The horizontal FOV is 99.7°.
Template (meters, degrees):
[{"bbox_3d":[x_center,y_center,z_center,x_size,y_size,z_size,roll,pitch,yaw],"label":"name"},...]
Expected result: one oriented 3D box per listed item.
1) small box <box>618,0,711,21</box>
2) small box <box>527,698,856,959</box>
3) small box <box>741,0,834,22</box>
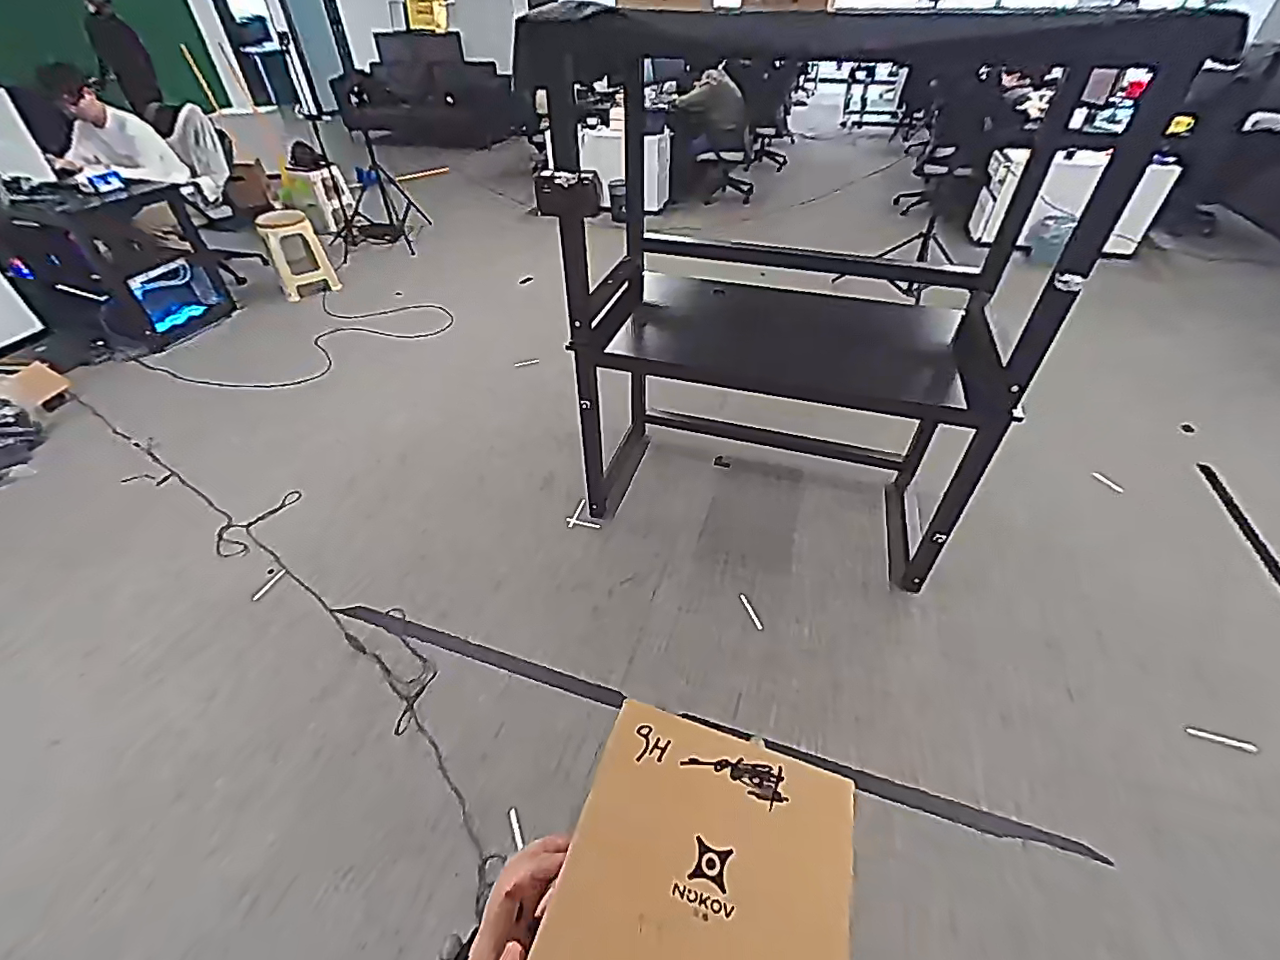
[{"bbox_3d":[0.054,-1.017,1.062,0.168,0.176,0.179,12,41,12],"label":"small box"},{"bbox_3d":[0.034,0.291,0.372,0.168,0.176,0.179,16,45,11],"label":"small box"},{"bbox_3d":[0.293,-0.985,1.024,0.168,0.176,0.179,13,41,15],"label":"small box"}]
